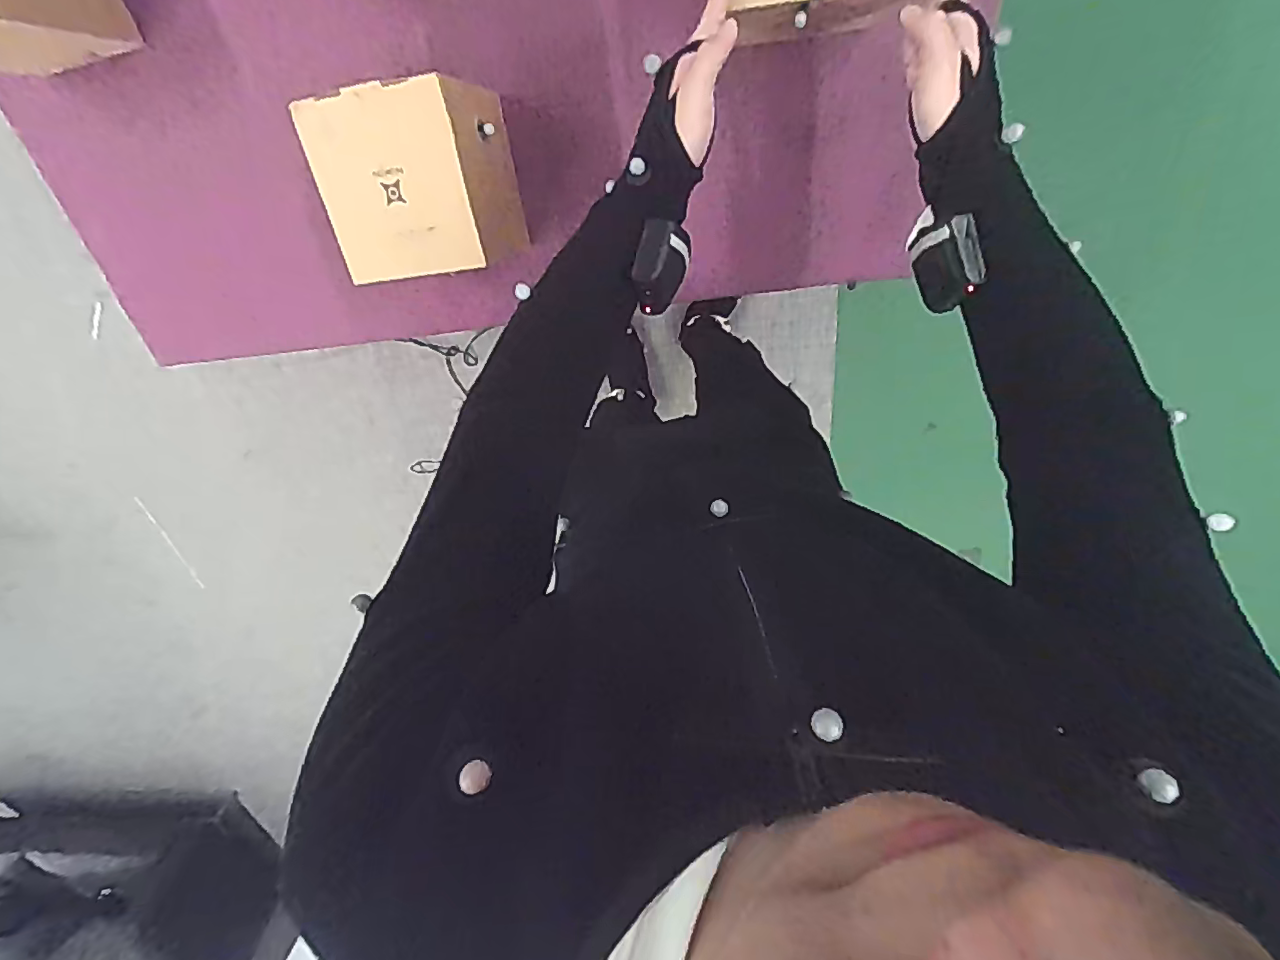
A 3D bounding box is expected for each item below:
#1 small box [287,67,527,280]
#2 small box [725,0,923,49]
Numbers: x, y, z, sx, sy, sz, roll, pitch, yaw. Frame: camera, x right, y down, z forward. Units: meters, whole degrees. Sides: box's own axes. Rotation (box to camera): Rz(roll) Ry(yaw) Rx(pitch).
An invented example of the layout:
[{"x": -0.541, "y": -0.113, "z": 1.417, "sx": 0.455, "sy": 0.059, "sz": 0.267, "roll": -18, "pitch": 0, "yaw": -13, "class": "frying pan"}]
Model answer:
[{"x": -0.244, "y": -0.340, "z": 0.619, "sx": 0.168, "sy": 0.176, "sz": 0.179, "roll": -3, "pitch": 119, "yaw": 10, "class": "small box"}, {"x": 0.160, "y": -0.507, "z": 0.470, "sx": 0.168, "sy": 0.176, "sz": 0.179, "roll": -1, "pitch": 121, "yaw": 8, "class": "small box"}]
